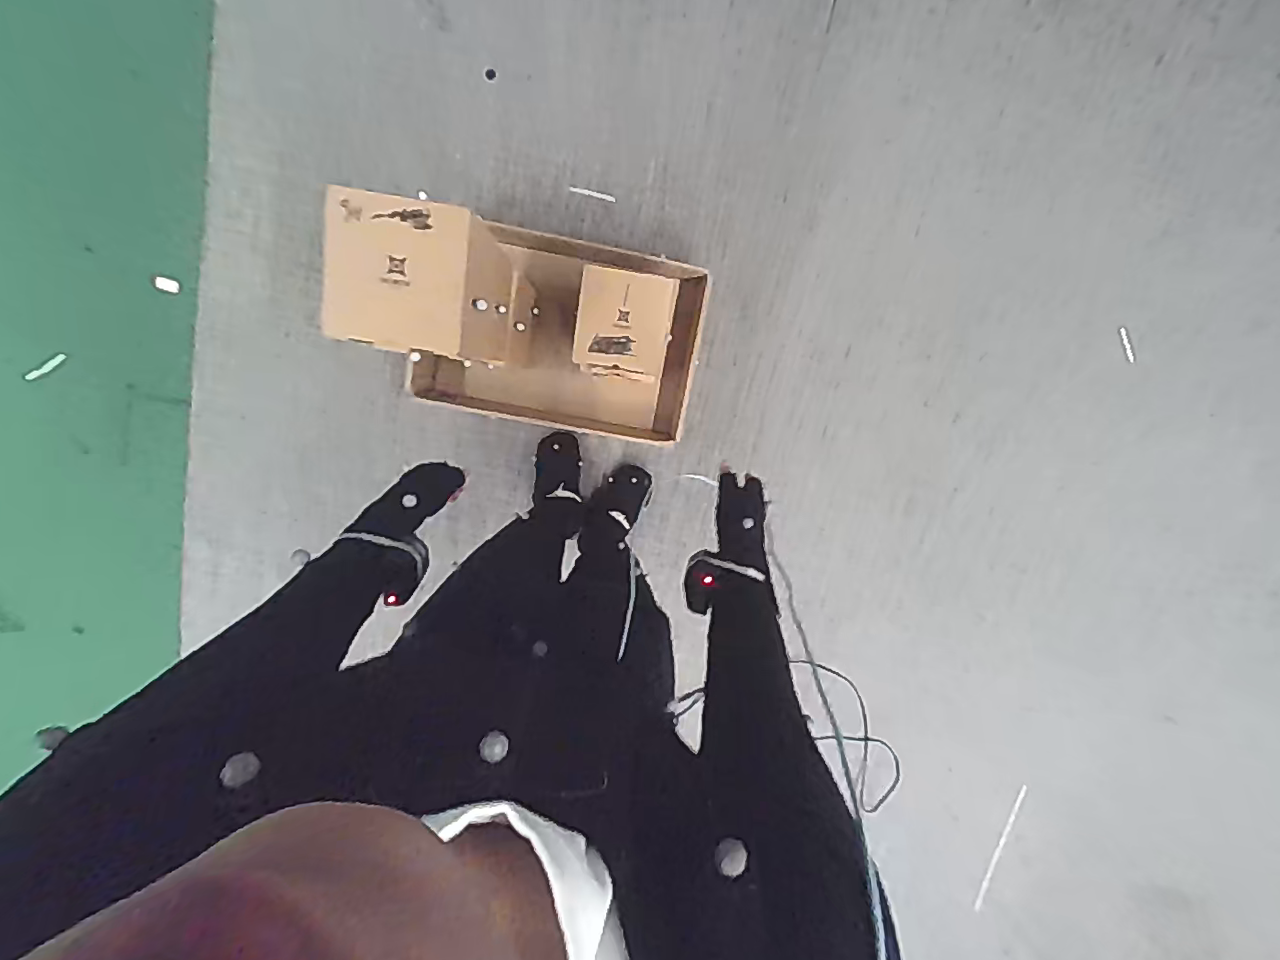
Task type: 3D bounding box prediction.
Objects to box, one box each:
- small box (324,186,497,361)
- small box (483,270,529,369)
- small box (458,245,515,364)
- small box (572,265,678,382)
[{"bbox_3d":[-0.295,-0.261,0.724,0.168,0.176,0.179,8,102,-6],"label":"small box"},{"bbox_3d":[-0.314,-0.318,1.046,0.168,0.176,0.179,10,101,-6],"label":"small box"},{"bbox_3d":[-0.306,-0.291,0.884,0.168,0.176,0.179,8,101,-6],"label":"small box"},{"bbox_3d":[-0.031,-0.297,1.055,0.168,0.176,0.179,12,101,-5],"label":"small box"}]
